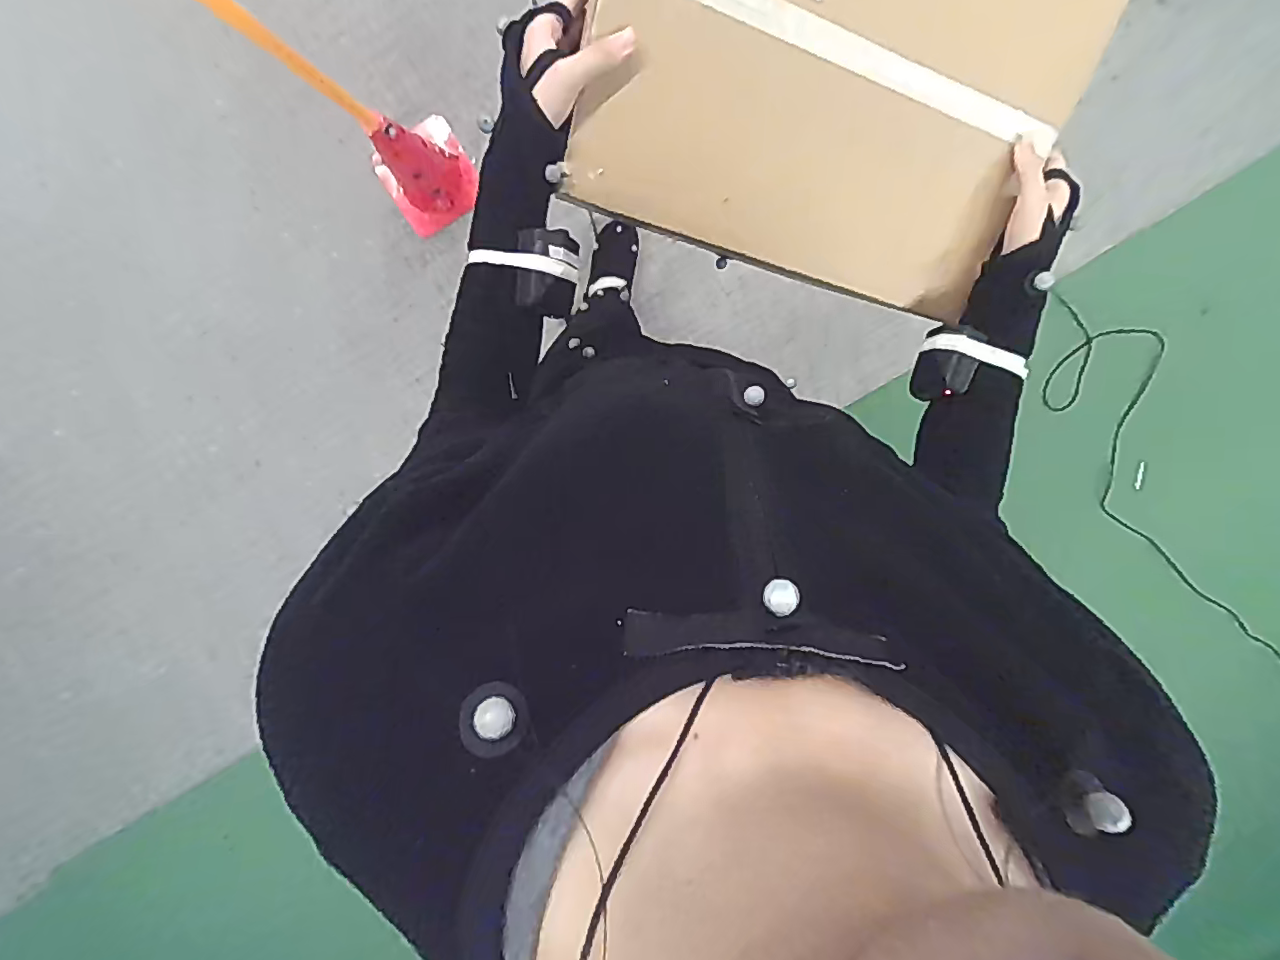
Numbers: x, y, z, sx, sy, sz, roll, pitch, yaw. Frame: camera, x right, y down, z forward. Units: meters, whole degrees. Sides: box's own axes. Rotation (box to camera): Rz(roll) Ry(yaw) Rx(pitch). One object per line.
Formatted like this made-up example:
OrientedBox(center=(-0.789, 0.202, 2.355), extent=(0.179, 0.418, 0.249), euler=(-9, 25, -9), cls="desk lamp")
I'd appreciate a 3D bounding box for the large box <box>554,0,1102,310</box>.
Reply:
OrientedBox(center=(0.140, -0.405, 0.568), extent=(0.408, 0.320, 0.320), euler=(12, 114, -14), cls="large box")
